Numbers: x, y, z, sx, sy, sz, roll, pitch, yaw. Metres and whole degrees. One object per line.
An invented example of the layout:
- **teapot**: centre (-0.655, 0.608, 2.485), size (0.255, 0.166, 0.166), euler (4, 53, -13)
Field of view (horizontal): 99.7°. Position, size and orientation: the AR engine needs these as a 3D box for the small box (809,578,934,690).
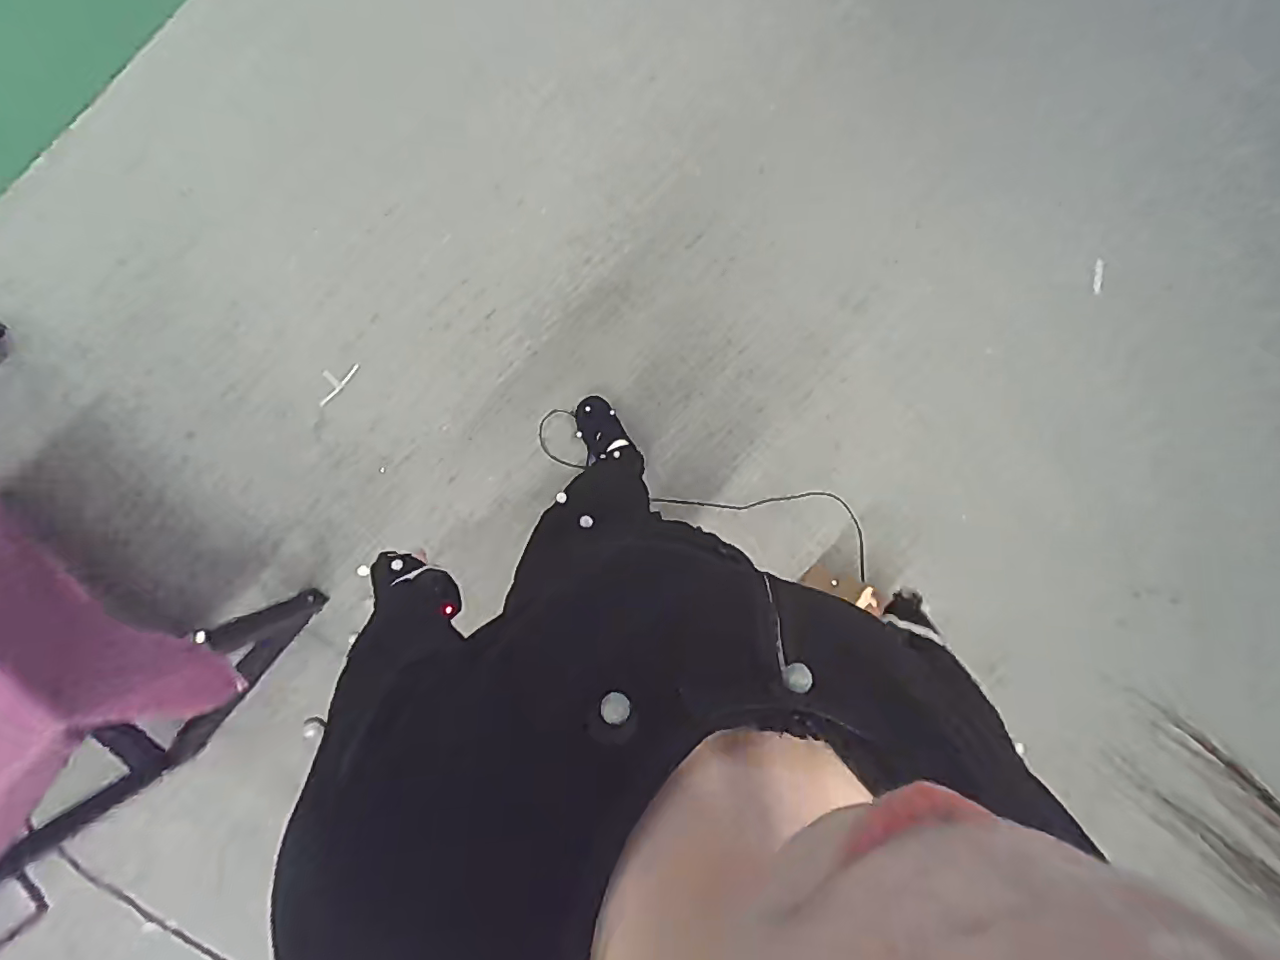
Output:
- **small box**: centre (0.528, 0.347, 1.263), size (0.179, 0.176, 0.168), euler (40, 91, -1)
